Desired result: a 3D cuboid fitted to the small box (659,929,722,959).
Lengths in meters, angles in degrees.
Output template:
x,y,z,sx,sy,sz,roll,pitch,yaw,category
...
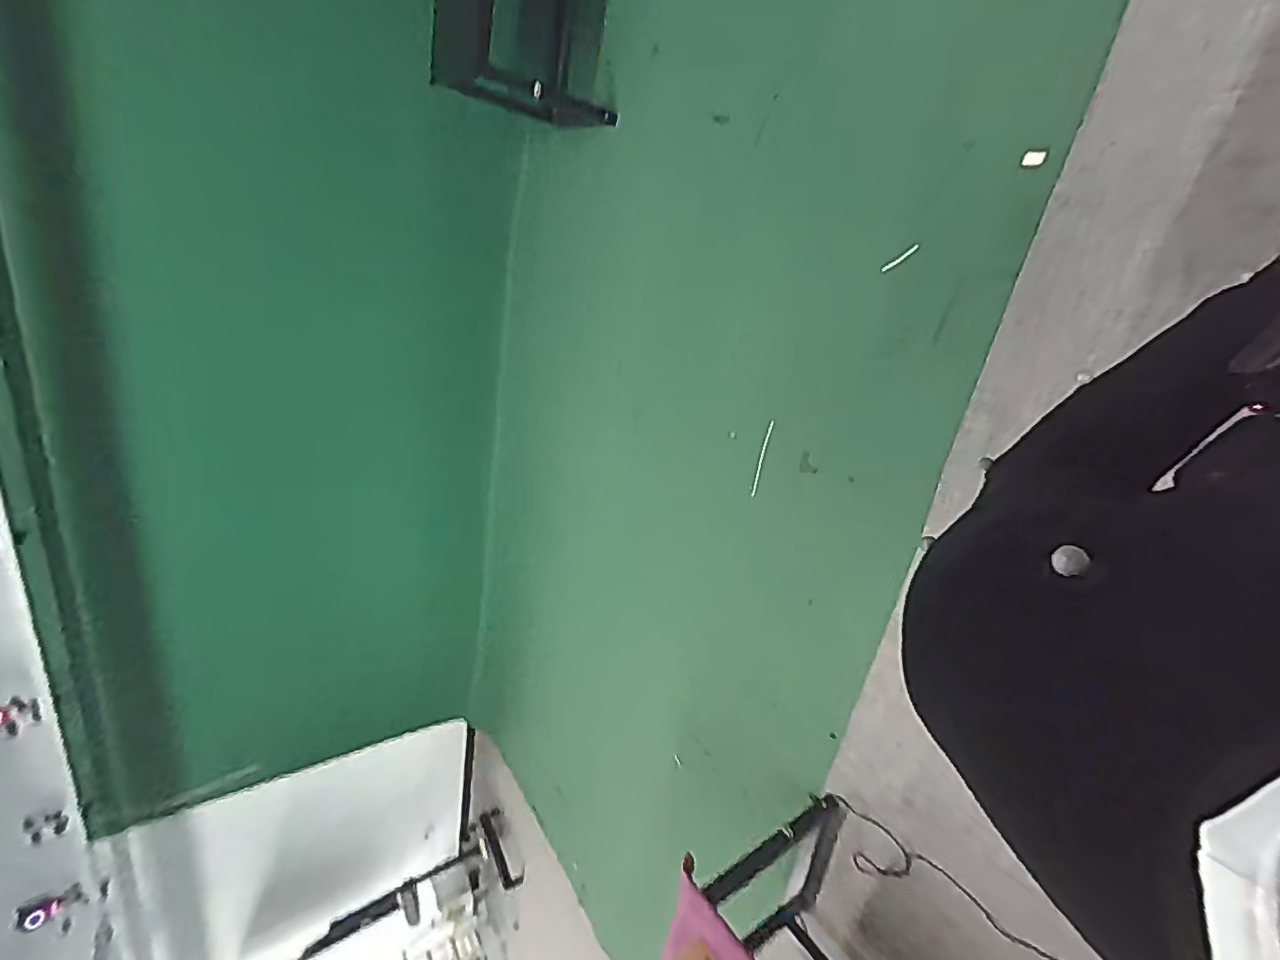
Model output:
x,y,z,sx,sy,sz,roll,pitch,yaw,category
0.135,1.359,1.427,0.168,0.176,0.179,30,118,45,small box
